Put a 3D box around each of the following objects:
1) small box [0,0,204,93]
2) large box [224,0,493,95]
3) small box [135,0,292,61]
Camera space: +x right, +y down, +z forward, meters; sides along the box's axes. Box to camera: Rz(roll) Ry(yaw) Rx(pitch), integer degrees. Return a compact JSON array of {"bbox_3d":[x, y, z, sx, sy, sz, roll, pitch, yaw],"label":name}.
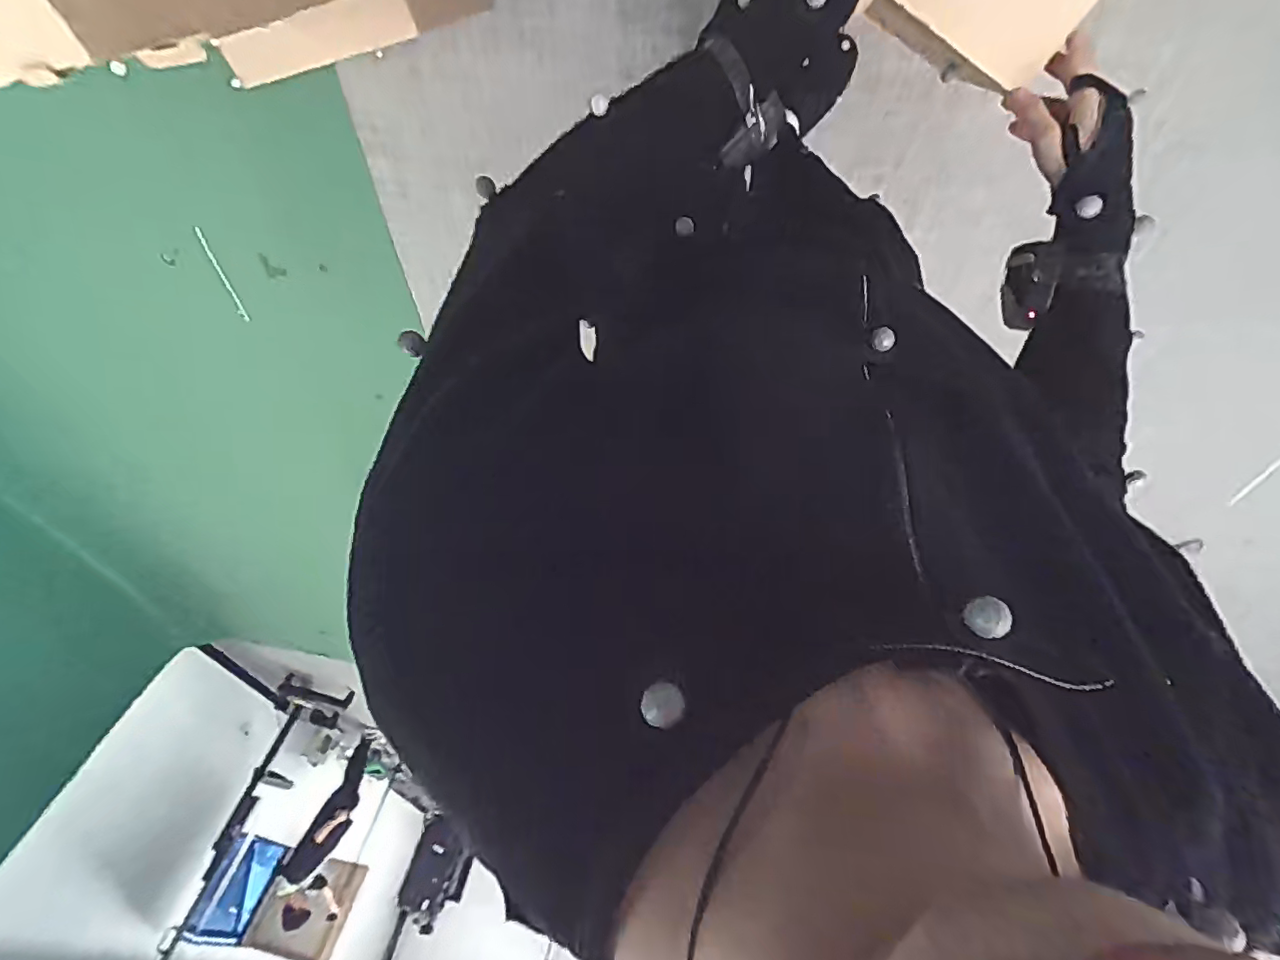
[{"bbox_3d":[-0.629,-0.545,0.569,0.168,0.176,0.179,1,139,15],"label":"small box"},{"bbox_3d":[-0.547,-0.953,0.964,0.408,0.320,0.320,0,135,19],"label":"large box"},{"bbox_3d":[-0.593,-0.662,0.678,0.168,0.176,0.179,2,138,14],"label":"small box"}]
